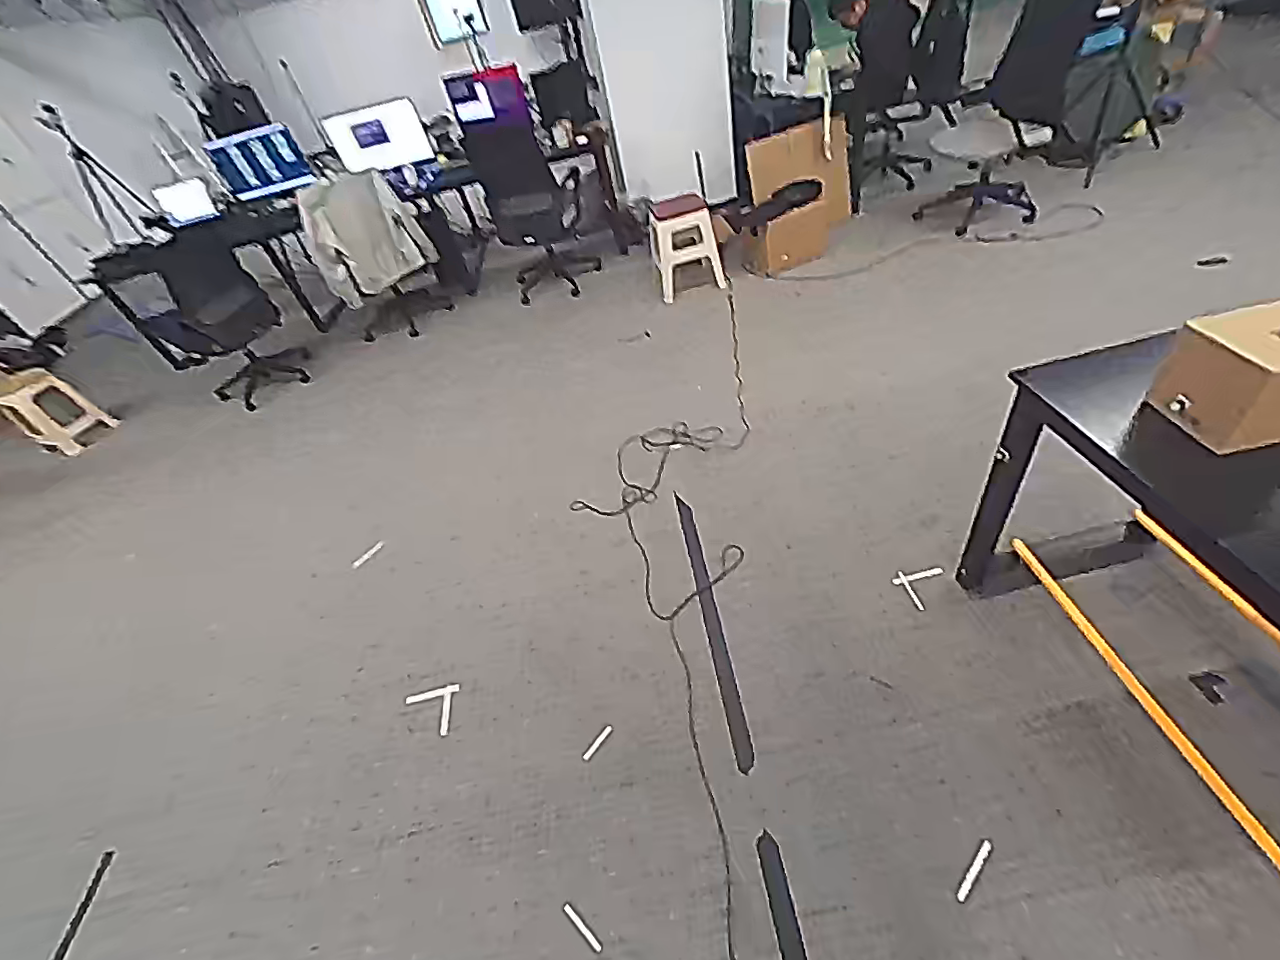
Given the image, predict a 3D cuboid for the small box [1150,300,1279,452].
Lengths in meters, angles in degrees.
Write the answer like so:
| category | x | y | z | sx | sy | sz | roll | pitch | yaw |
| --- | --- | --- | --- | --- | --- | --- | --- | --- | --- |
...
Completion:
| category | x | y | z | sx | sy | sz | roll | pitch | yaw |
| --- | --- | --- | --- | --- | --- | --- | --- | --- | --- |
| small box | 1.021 | -0.171 | 0.895 | 0.179 | 0.176 | 0.168 | -13 | 42 | 4 |
